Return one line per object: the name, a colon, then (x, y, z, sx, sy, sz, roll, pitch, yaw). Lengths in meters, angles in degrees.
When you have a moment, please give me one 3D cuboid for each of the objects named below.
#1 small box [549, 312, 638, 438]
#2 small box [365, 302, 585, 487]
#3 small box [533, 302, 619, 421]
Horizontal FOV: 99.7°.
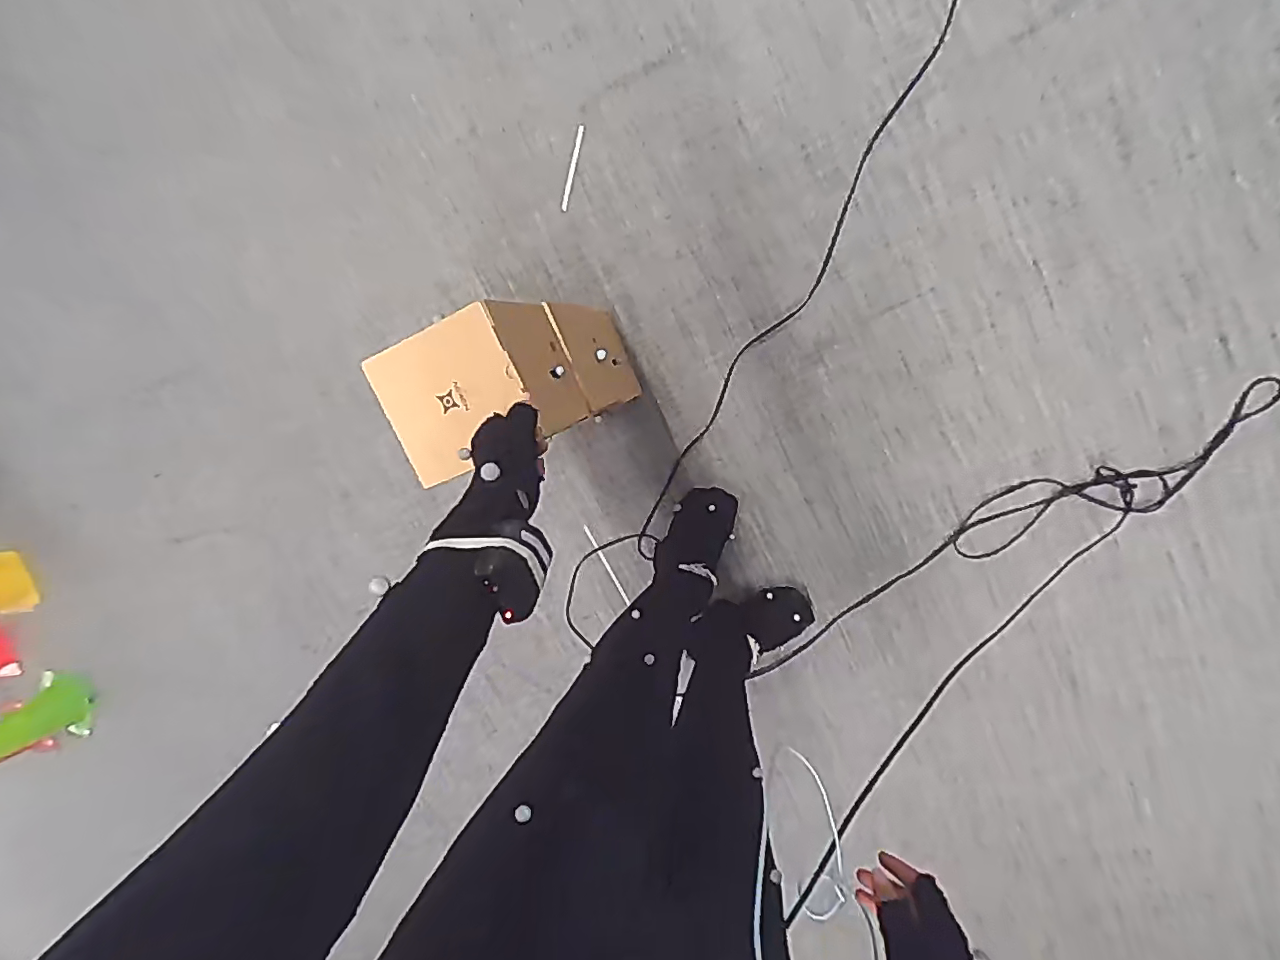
small box: (-0.119, -0.199, 0.996, 0.168, 0.176, 0.179, -21, 101, 17)
small box: (-0.197, -0.111, 0.691, 0.179, 0.176, 0.168, -21, 100, 17)
small box: (-0.155, -0.160, 0.841, 0.179, 0.176, 0.168, -20, 101, 16)
